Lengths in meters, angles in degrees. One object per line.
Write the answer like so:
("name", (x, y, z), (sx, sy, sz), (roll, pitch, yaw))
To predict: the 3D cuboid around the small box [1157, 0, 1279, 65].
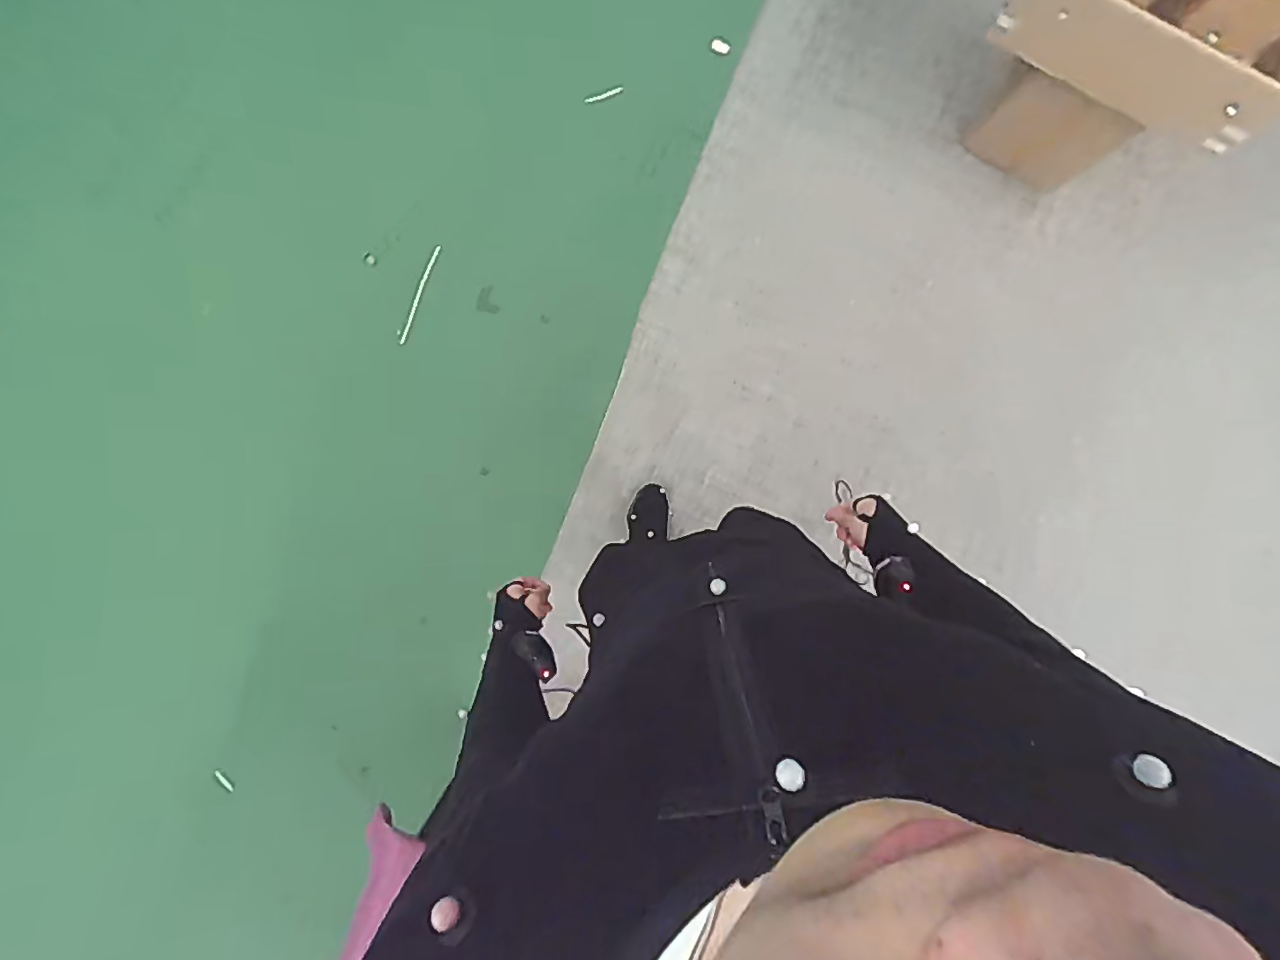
("small box", (1.249, -1.031, 1.123), (0.168, 0.176, 0.179), (27, 93, -1))
